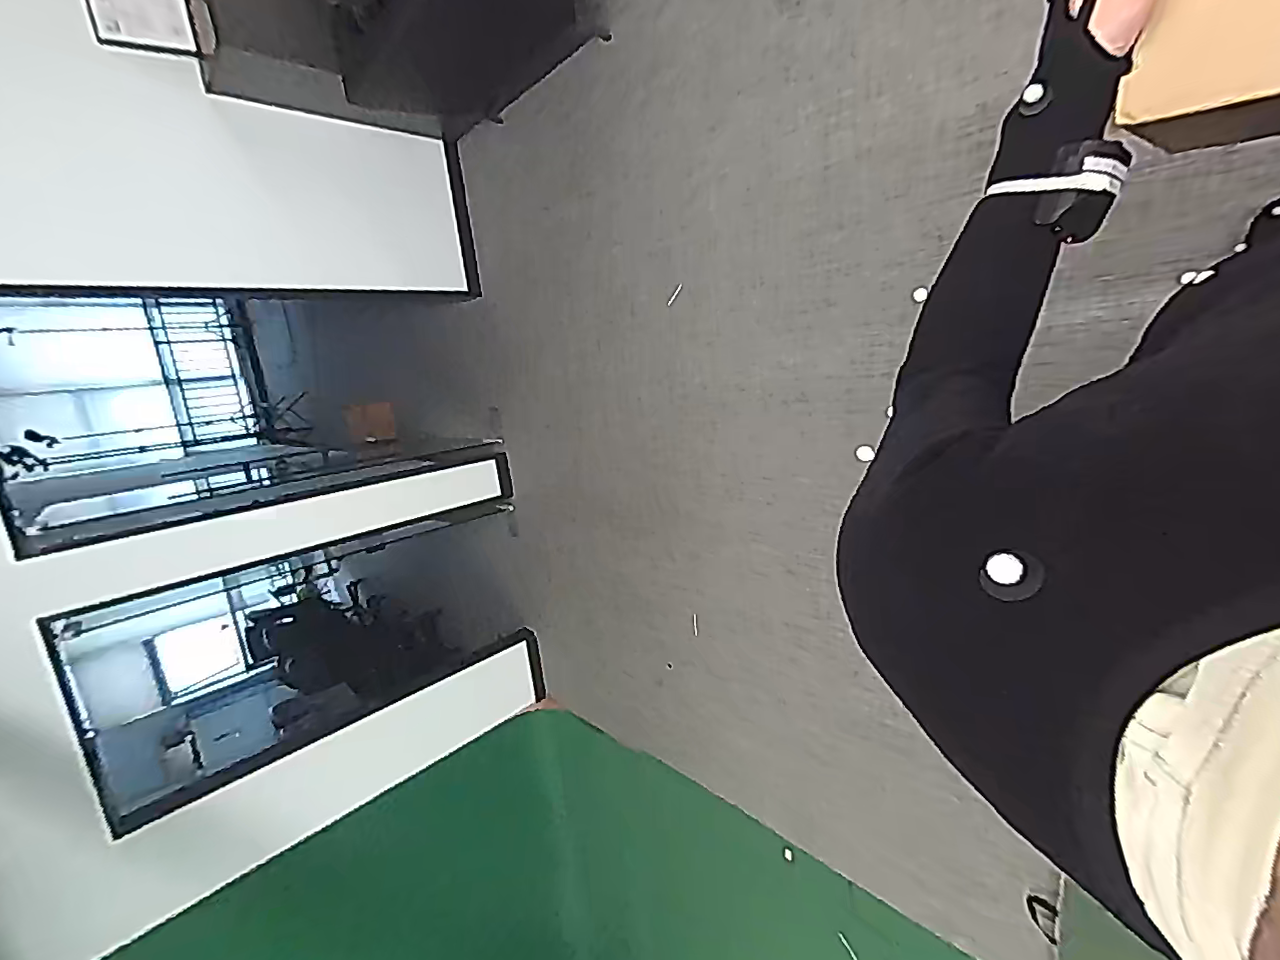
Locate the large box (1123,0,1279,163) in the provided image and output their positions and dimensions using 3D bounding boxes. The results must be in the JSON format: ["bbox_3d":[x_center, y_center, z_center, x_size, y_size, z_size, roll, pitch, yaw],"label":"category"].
[{"bbox_3d":[0.606,-0.431,0.337,0.408,0.320,0.320,14,118,45],"label":"large box"}]
